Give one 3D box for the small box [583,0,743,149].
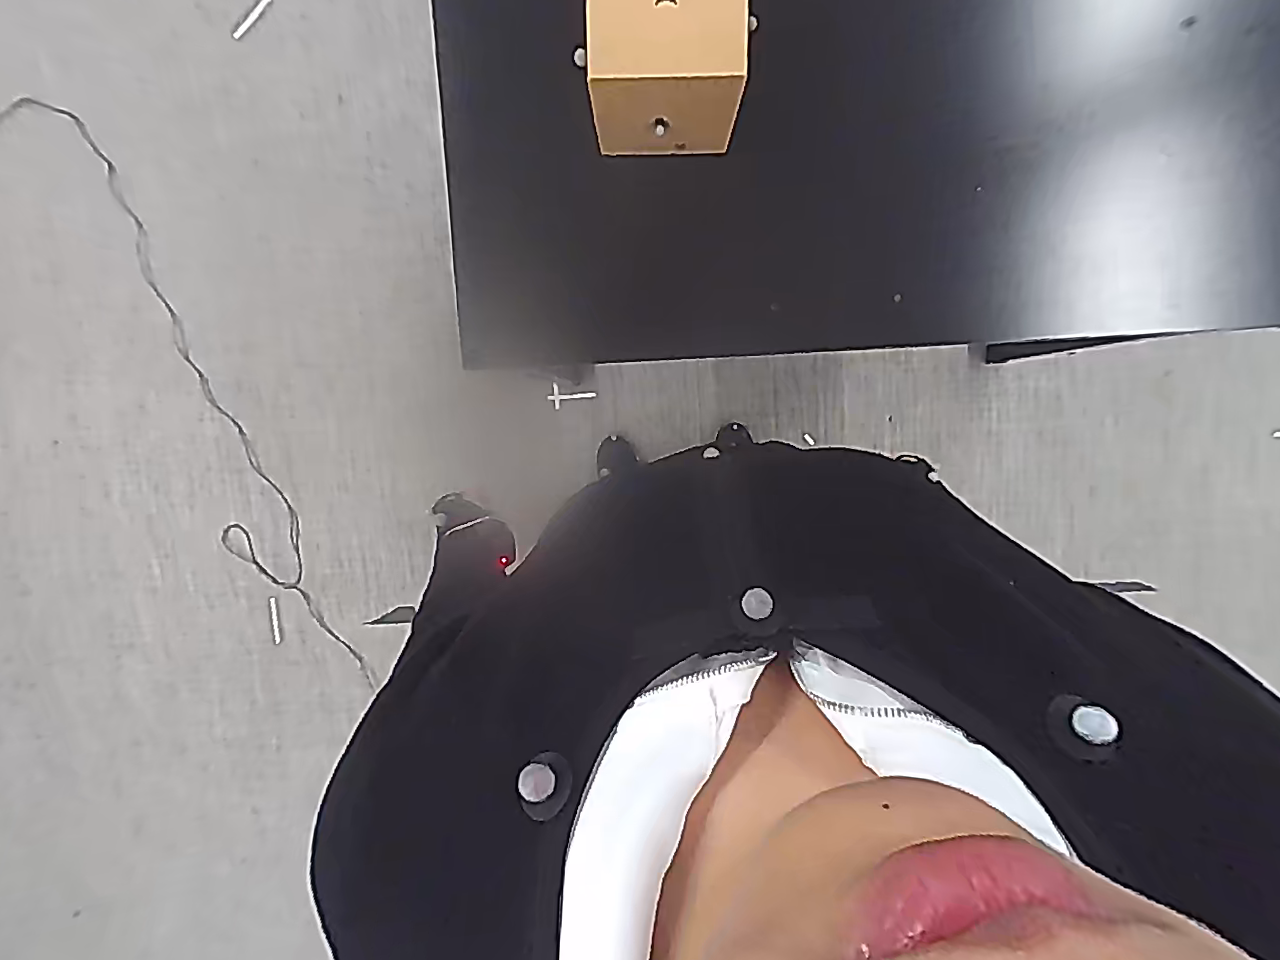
[{"bbox_3d":[0.027,-0.508,0.624,0.168,0.176,0.179,0,96,1],"label":"small box"}]
